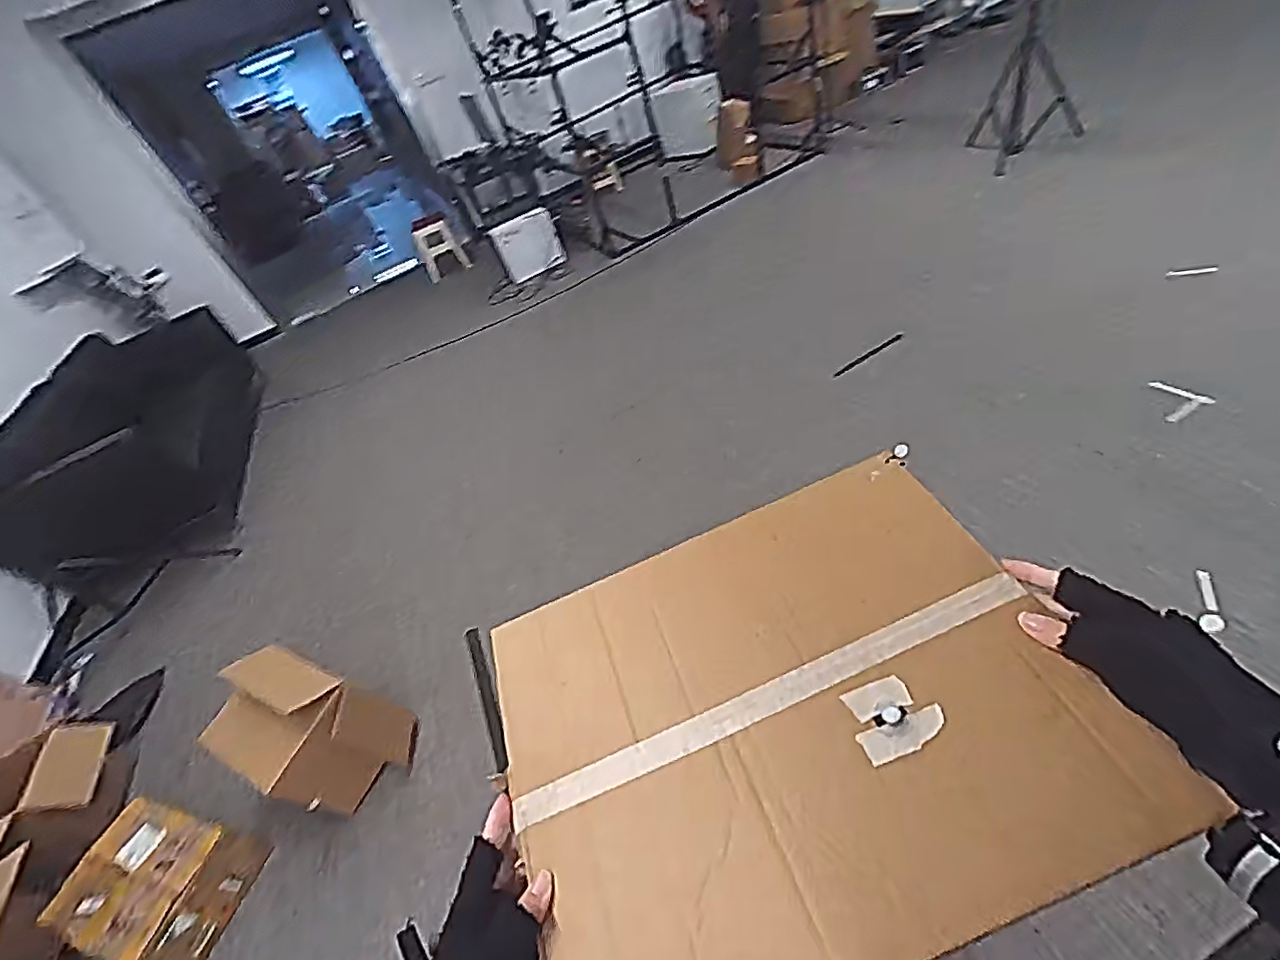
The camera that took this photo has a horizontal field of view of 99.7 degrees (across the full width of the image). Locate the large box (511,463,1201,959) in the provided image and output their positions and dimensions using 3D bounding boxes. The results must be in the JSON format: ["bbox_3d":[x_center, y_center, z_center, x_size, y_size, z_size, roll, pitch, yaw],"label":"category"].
[{"bbox_3d":[0.142,0.257,0.520,0.408,0.320,0.320,-24,49,-1],"label":"large box"}]
